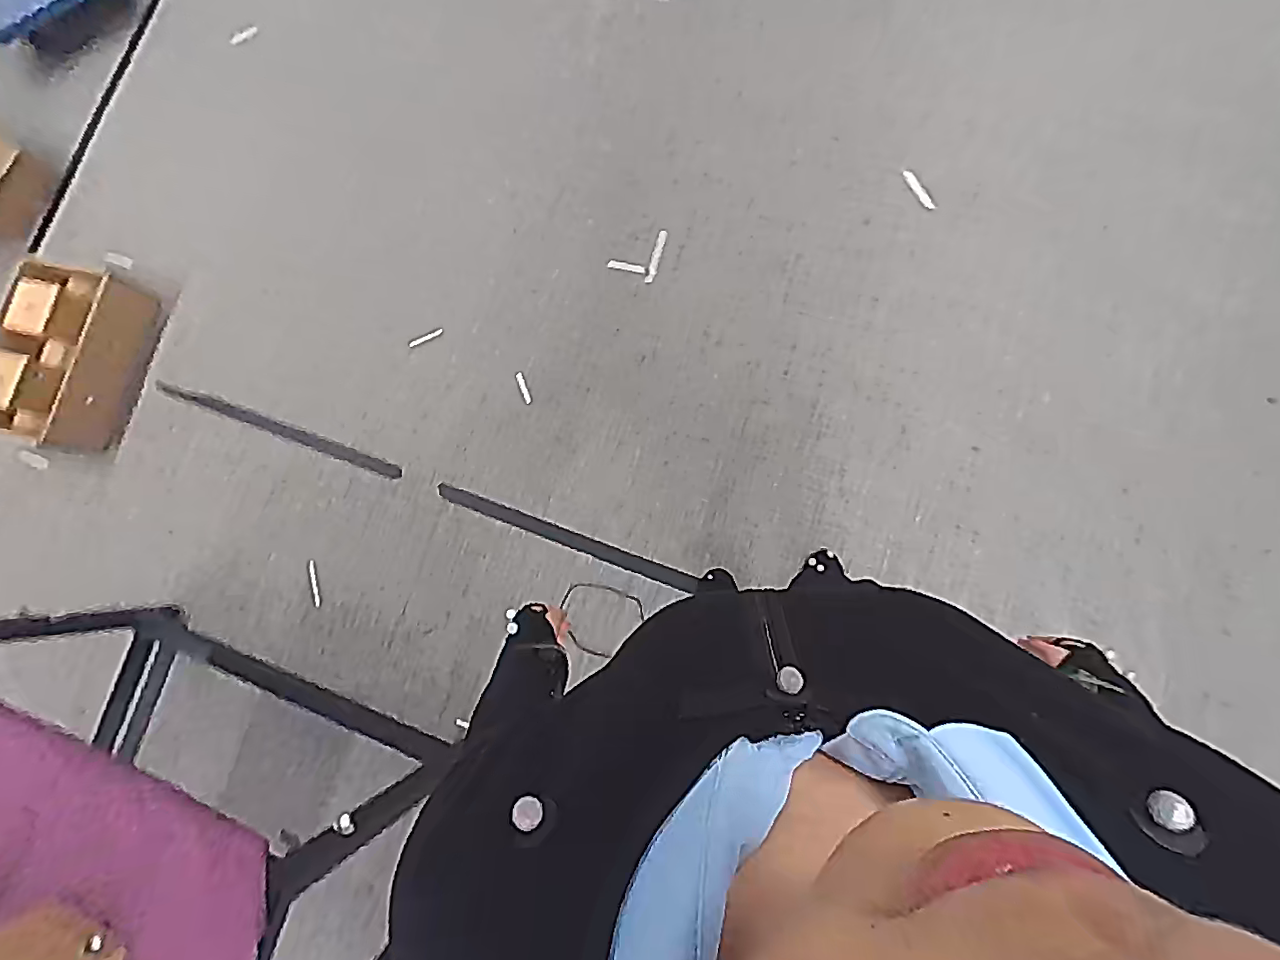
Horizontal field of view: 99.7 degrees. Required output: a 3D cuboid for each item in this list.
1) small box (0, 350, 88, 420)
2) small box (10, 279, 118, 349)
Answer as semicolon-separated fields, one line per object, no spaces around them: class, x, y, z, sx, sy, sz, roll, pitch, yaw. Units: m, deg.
small box;-2.067;-0.323;1.853;0.168;0.176;0.179;11;82;12
small box;-2.001;-0.572;1.885;0.179;0.176;0.168;13;84;11
